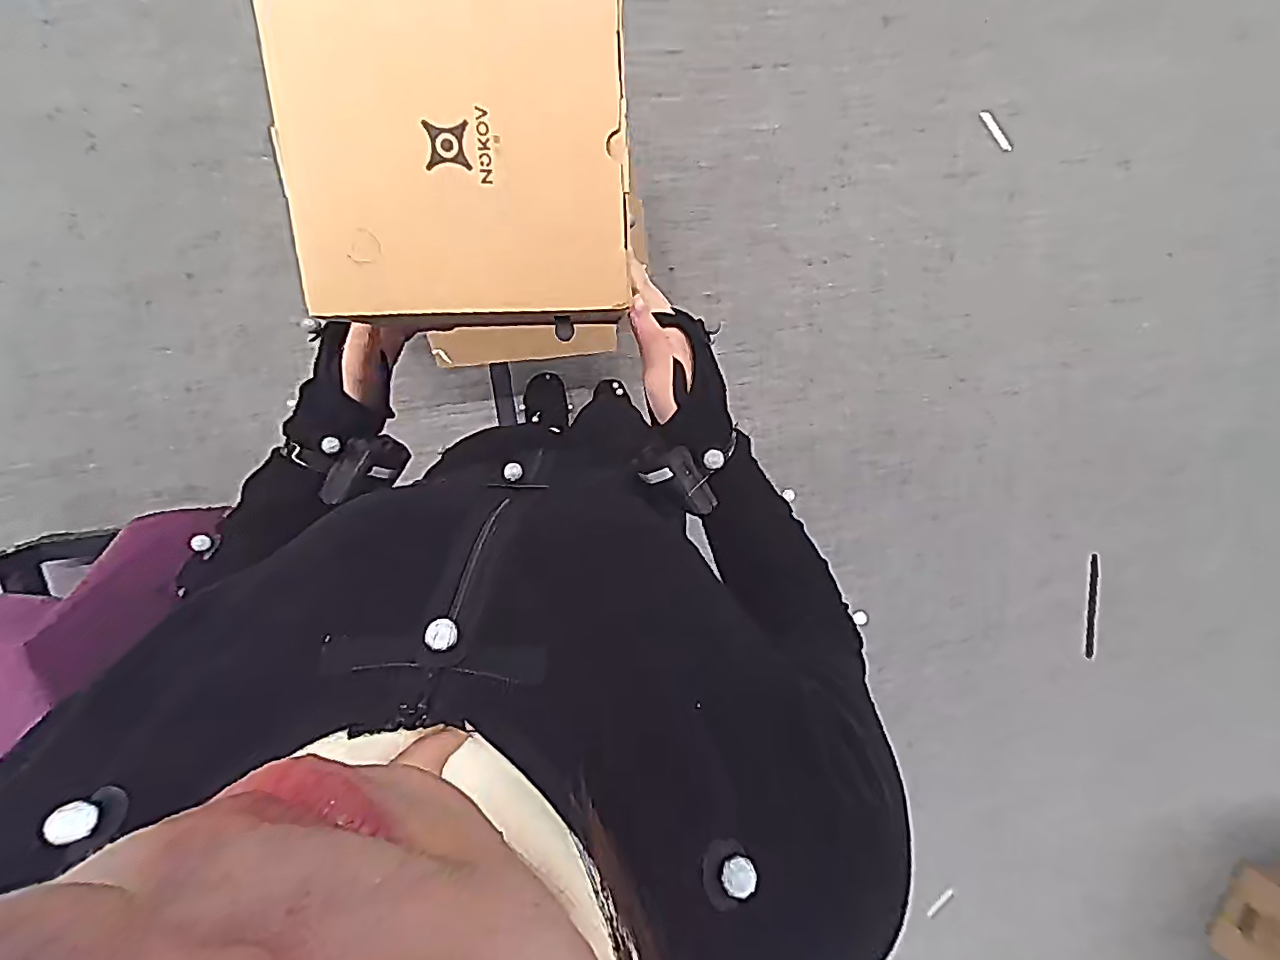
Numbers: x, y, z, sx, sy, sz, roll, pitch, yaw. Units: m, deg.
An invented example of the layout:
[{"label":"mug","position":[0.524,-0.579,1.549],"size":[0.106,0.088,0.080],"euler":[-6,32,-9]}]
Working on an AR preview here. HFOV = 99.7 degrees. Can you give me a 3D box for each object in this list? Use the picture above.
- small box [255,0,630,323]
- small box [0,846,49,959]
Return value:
[{"label":"small box","position":[-0.100,-0.193,0.352],"size":[0.179,0.176,0.168],"euler":[-4,104,-5]},{"label":"small box","position":[-0.930,0.607,0.692],"size":[0.179,0.176,0.168],"euler":[-4,103,-6]}]
